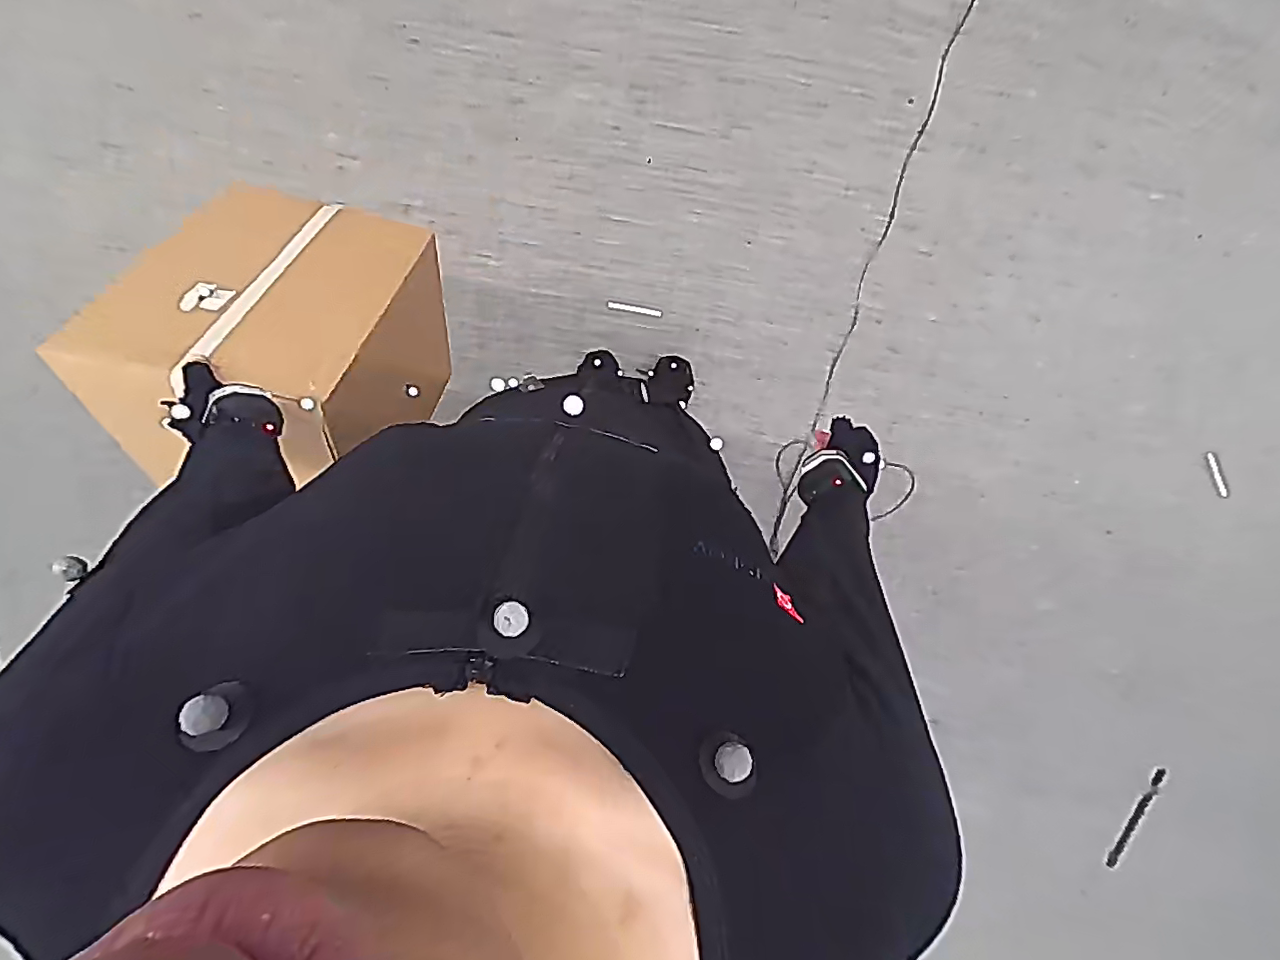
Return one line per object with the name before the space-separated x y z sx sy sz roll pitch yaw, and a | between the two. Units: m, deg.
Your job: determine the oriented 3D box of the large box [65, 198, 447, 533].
large box | -0.537 -0.181 0.881 0.320 0.408 0.320 11 144 -4
